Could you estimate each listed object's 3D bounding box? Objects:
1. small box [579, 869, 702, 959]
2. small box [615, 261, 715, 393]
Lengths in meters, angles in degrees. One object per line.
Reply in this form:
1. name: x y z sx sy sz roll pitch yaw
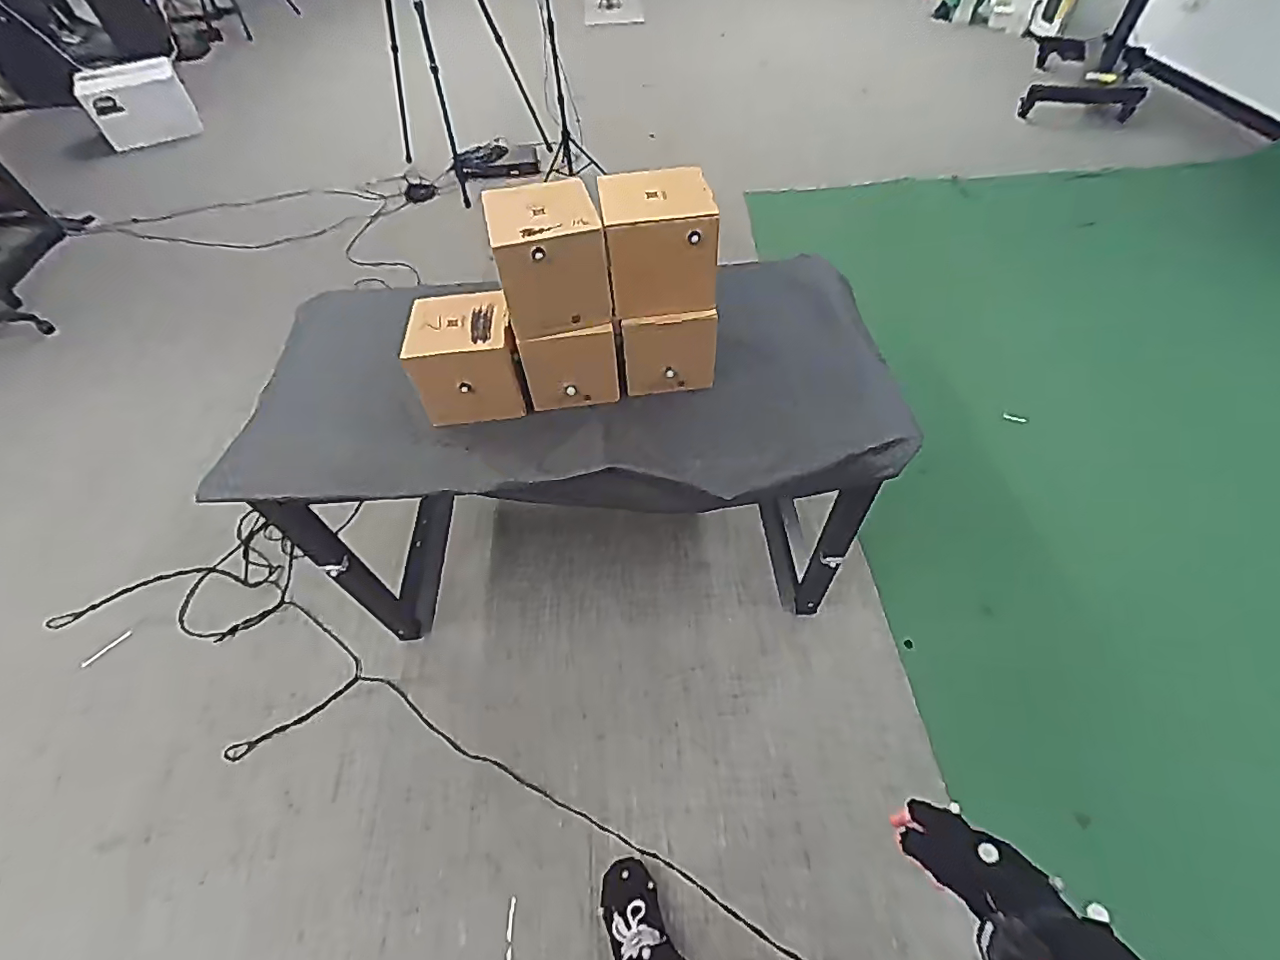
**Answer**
1. small box: -0.001 0.894 1.068 0.179 0.176 0.168 3 59 30
2. small box: 0.044 -0.289 1.028 0.168 0.176 0.179 -7 53 -1
